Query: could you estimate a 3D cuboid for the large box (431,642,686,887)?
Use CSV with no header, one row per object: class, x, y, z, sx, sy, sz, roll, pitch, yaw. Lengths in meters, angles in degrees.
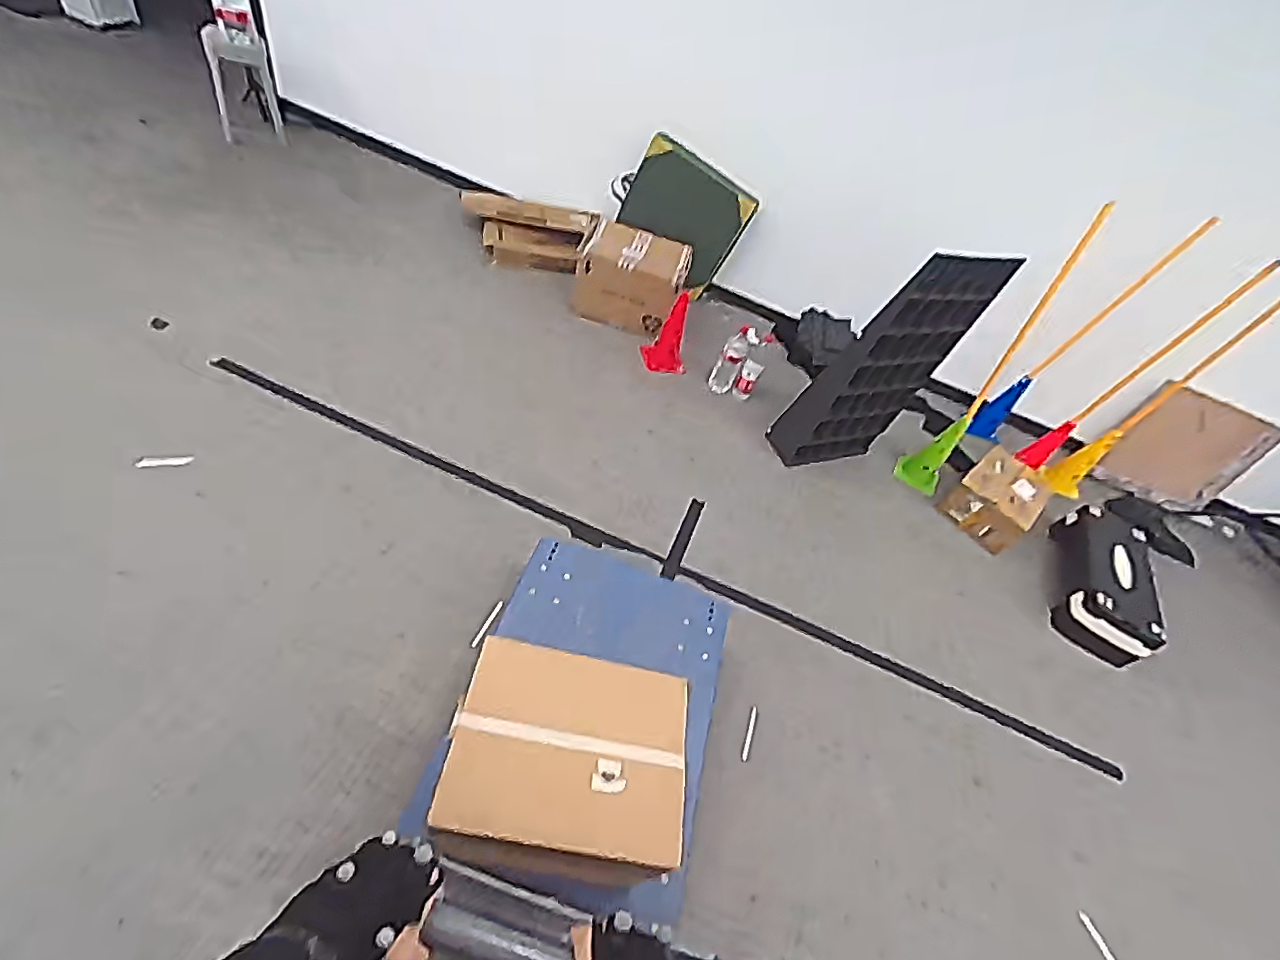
large box,-0.154,0.557,1.045,0.408,0.320,0.320,15,47,-8
